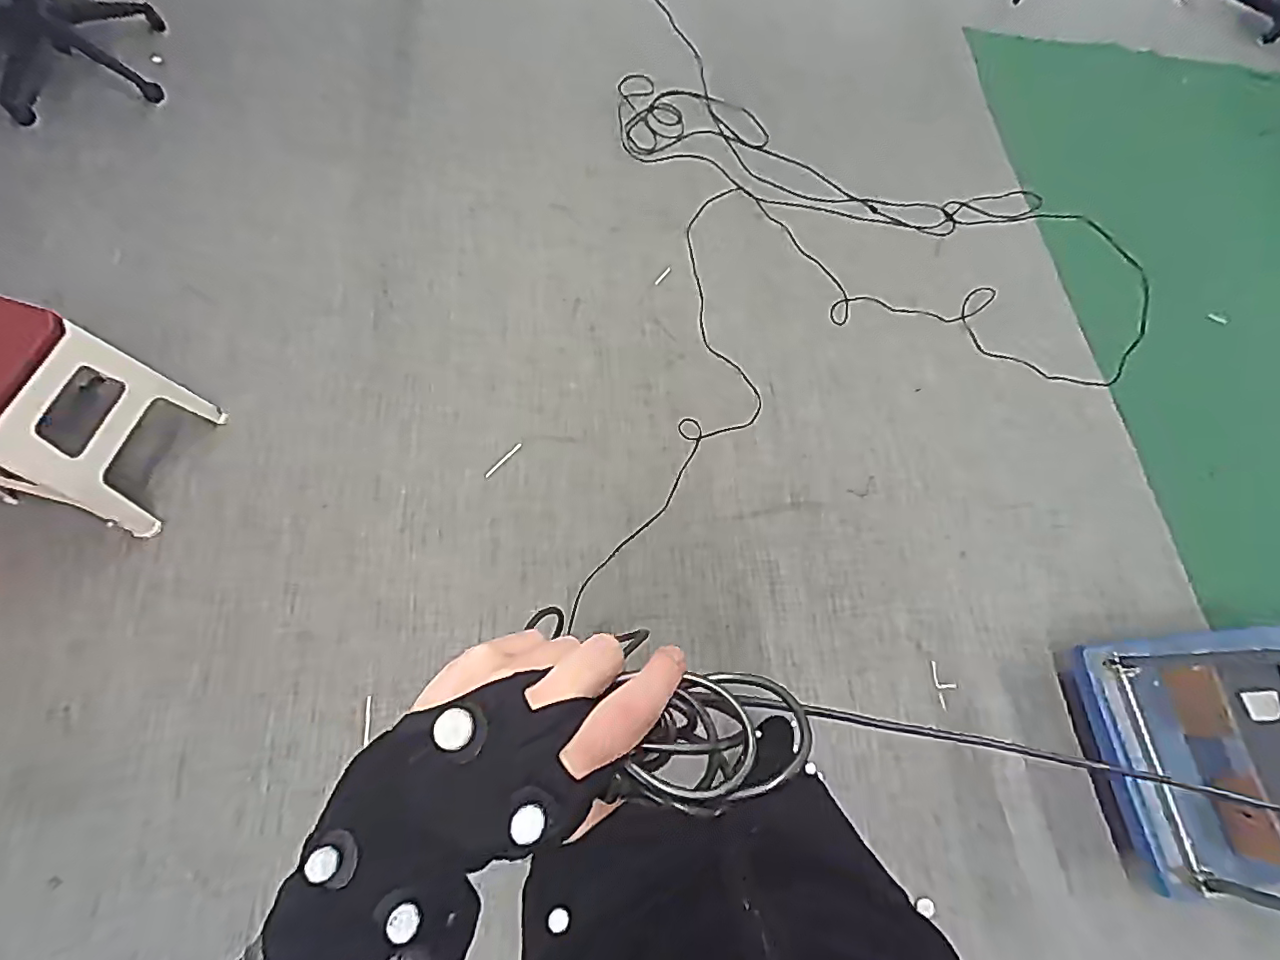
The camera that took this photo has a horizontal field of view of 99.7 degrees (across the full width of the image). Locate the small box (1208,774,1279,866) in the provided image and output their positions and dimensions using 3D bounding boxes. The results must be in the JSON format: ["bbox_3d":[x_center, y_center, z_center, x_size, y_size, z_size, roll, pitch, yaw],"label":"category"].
[{"bbox_3d":[1.527,0.803,1.275,0.179,0.176,0.168,-1,70,-8],"label":"small box"}]

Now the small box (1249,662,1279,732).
[{"bbox_3d":[1.756,0.560,1.399,0.179,0.176,0.168,-5,71,-10],"label":"small box"}]
